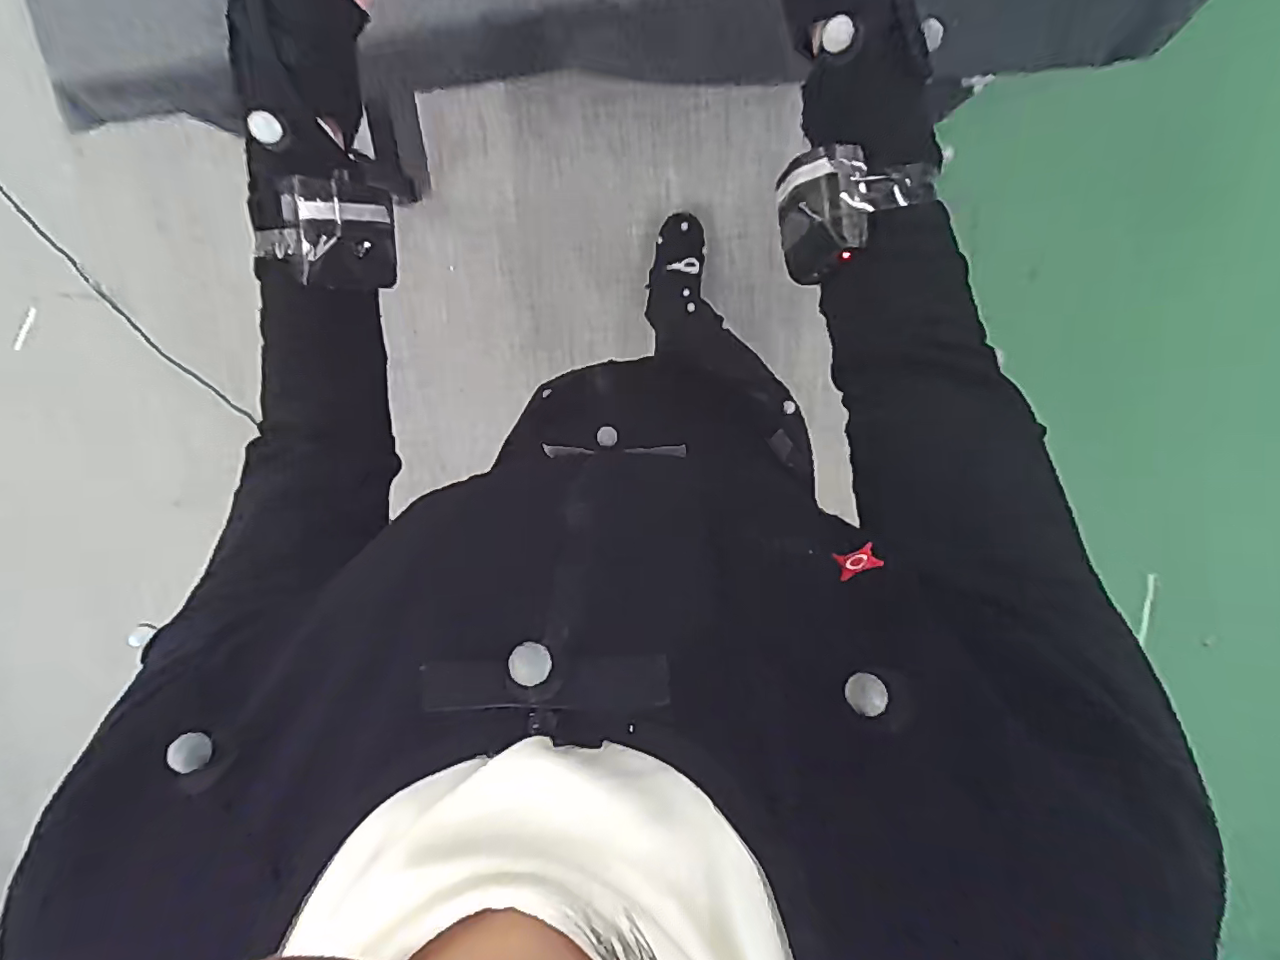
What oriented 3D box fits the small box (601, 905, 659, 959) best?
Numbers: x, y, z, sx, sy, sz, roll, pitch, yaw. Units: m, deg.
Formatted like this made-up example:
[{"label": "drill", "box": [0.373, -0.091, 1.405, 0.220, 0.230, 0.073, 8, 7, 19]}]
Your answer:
[{"label": "small box", "box": [-0.030, 1.524, 1.756, 0.168, 0.176, 0.179, -6, 107, 6]}]
